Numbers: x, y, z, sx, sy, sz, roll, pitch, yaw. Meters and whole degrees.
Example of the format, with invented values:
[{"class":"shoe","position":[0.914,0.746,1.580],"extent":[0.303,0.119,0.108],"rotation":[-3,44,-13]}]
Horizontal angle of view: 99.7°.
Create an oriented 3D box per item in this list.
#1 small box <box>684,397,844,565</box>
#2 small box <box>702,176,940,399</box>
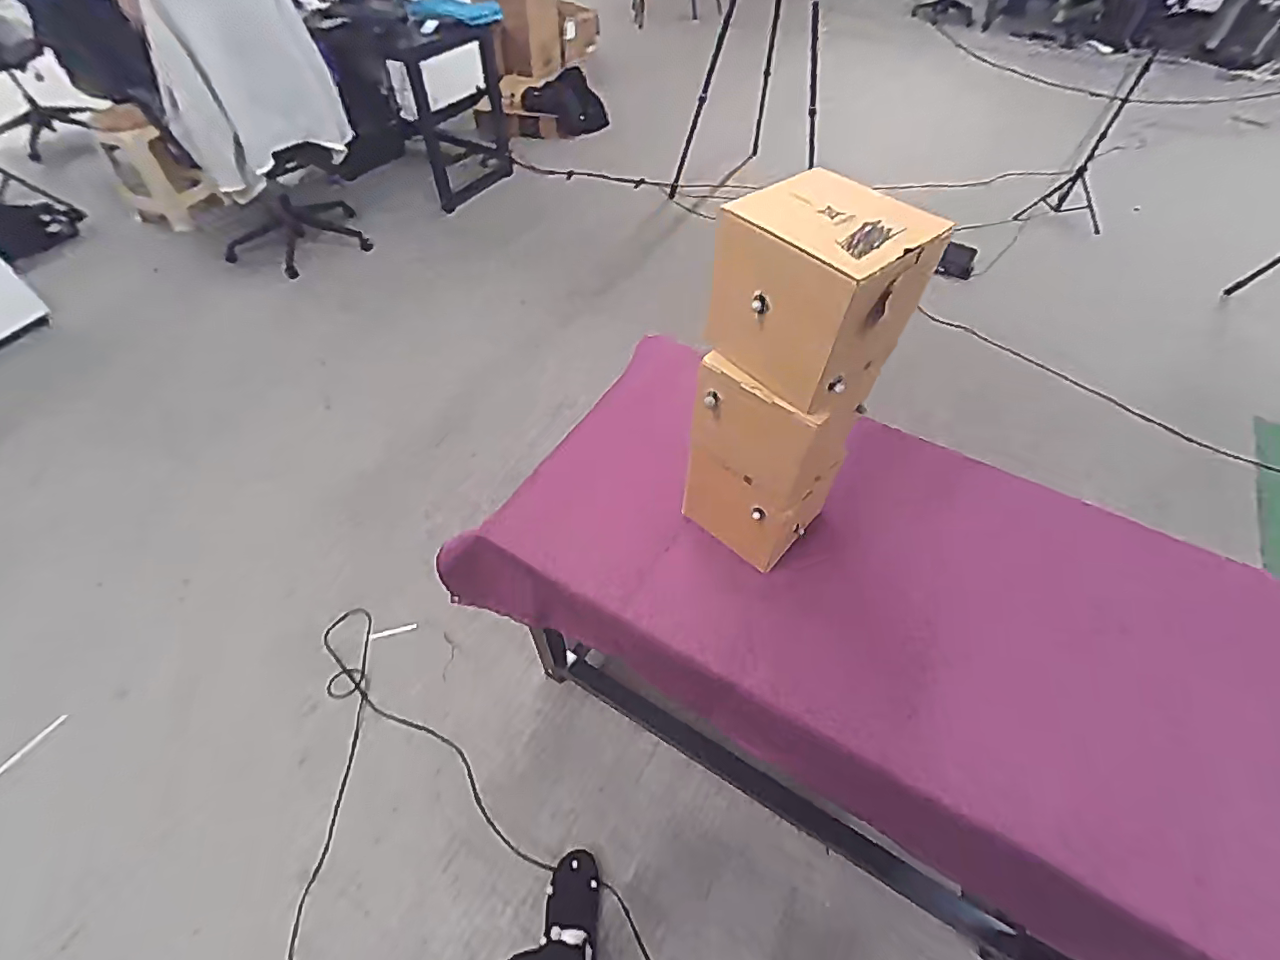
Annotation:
[{"class":"small box","position":[0.188,0.004,0.872],"extent":[0.179,0.176,0.168],"rotation":[36,59,23]},{"class":"small box","position":[0.194,-0.216,0.627],"extent":[0.168,0.176,0.179],"rotation":[-33,59,-26]}]
